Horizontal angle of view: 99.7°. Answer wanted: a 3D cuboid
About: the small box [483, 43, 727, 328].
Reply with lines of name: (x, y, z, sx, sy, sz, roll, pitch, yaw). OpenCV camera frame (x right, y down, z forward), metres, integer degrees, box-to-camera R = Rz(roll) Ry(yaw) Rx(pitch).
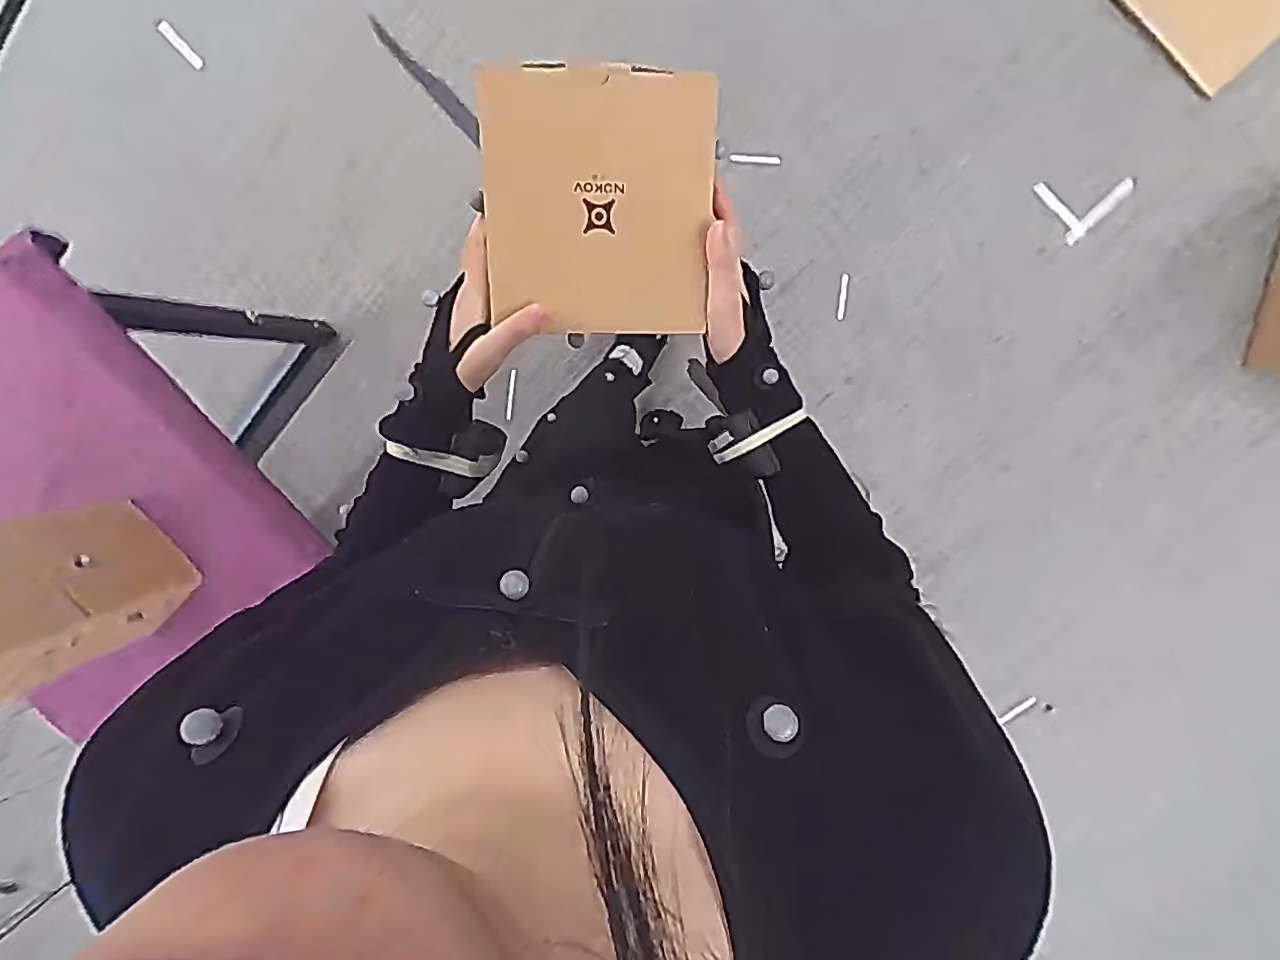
small box: (-0.029, -0.225, 0.459, 0.168, 0.176, 0.179, 0, 107, -4)

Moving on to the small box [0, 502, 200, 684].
small box: (-0.824, 0.156, 0.807, 0.168, 0.176, 0.179, -42, 92, 12)
